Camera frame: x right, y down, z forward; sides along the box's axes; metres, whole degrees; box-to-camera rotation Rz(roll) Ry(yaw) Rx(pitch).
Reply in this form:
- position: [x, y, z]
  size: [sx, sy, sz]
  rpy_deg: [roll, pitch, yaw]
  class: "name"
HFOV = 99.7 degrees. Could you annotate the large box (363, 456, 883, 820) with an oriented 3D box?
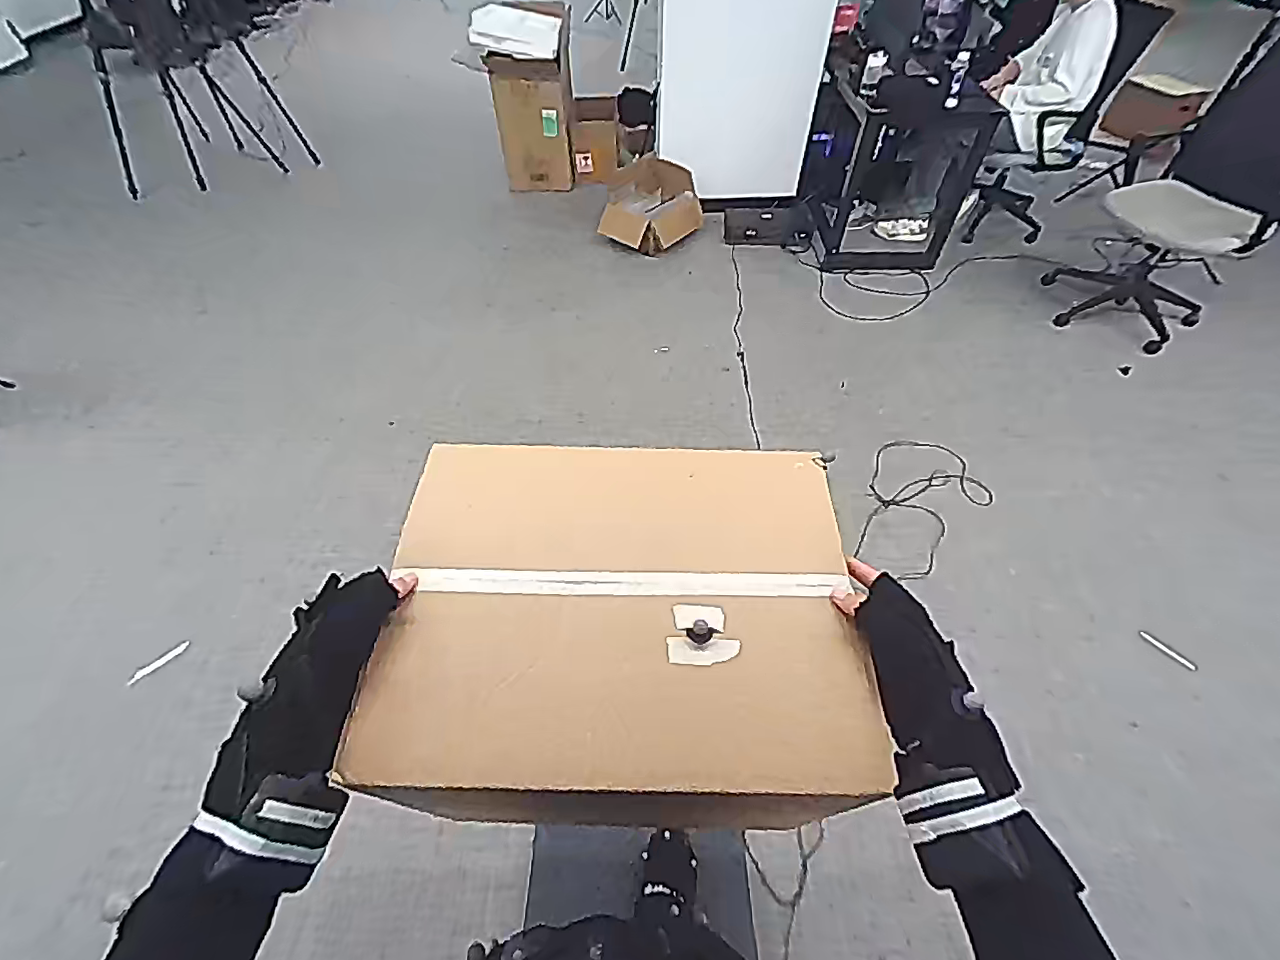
- position: [-0.015, 0.188, 0.613]
  size: [0.408, 0.320, 0.320]
  rpy_deg: [2, 53, 0]
  class: "large box"
